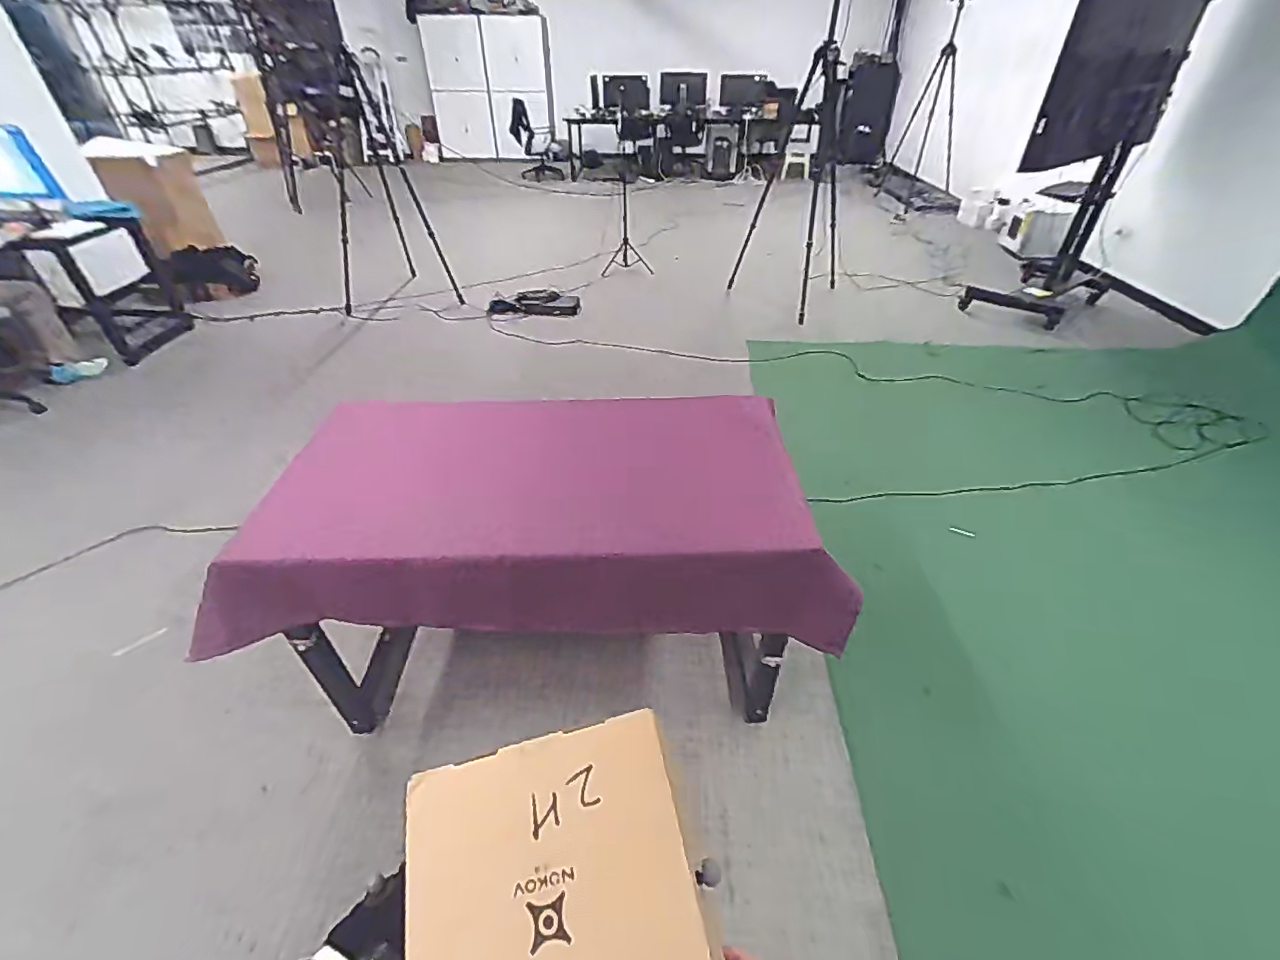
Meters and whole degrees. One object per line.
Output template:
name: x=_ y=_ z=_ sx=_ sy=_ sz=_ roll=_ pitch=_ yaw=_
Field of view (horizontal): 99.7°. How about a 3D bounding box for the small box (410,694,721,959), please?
small box: x=-0.043 y=0.277 z=0.381 sx=0.168 sy=0.176 sz=0.179 roll=-15 pitch=55 yaw=-2
